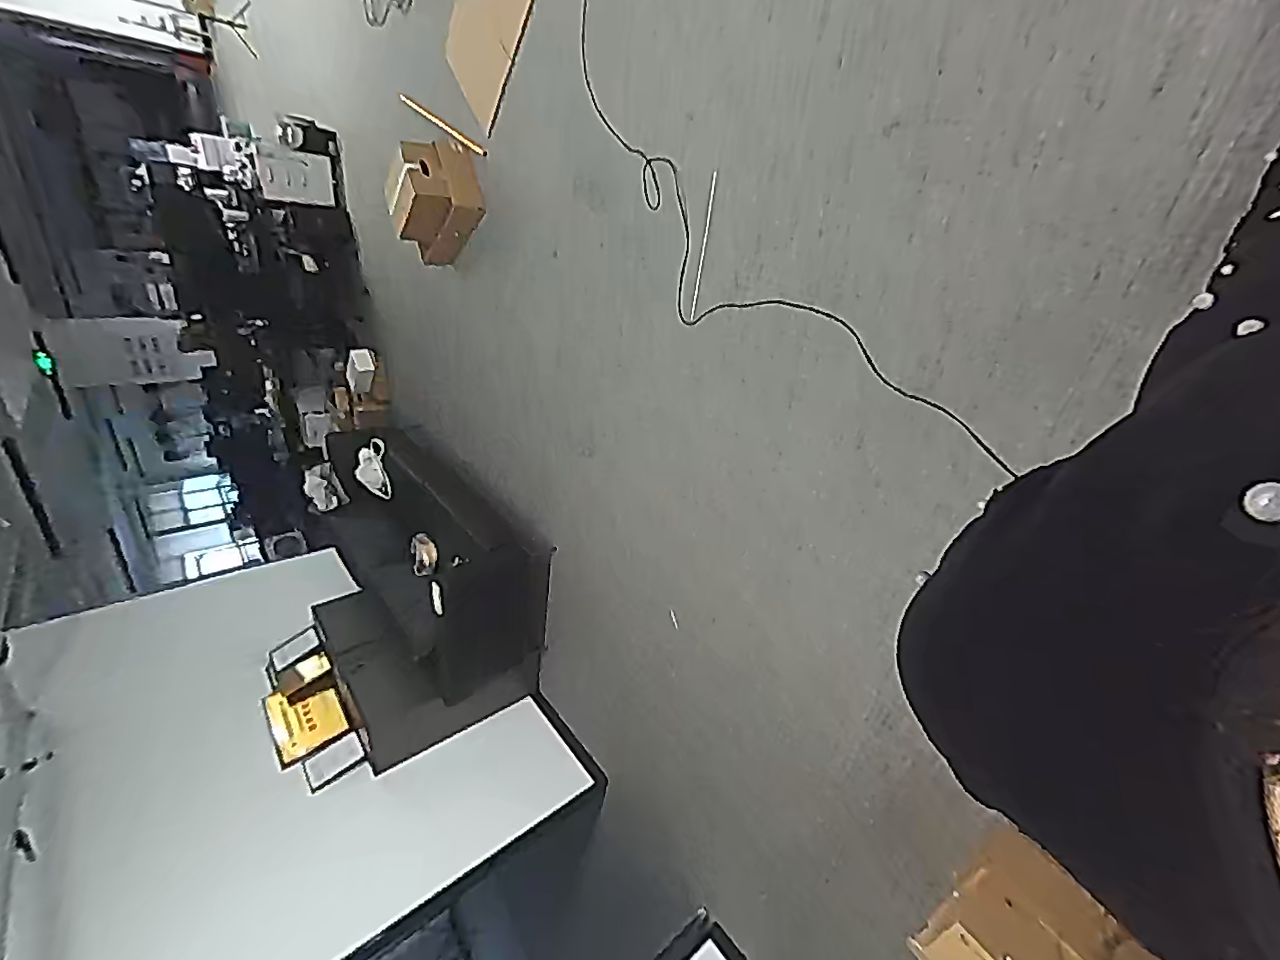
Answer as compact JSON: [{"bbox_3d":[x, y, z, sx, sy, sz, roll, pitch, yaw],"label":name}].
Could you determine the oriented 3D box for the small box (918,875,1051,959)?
[{"bbox_3d":[0.774,1.048,1.214,0.168,0.176,0.179,40,132,36],"label":"small box"}]
